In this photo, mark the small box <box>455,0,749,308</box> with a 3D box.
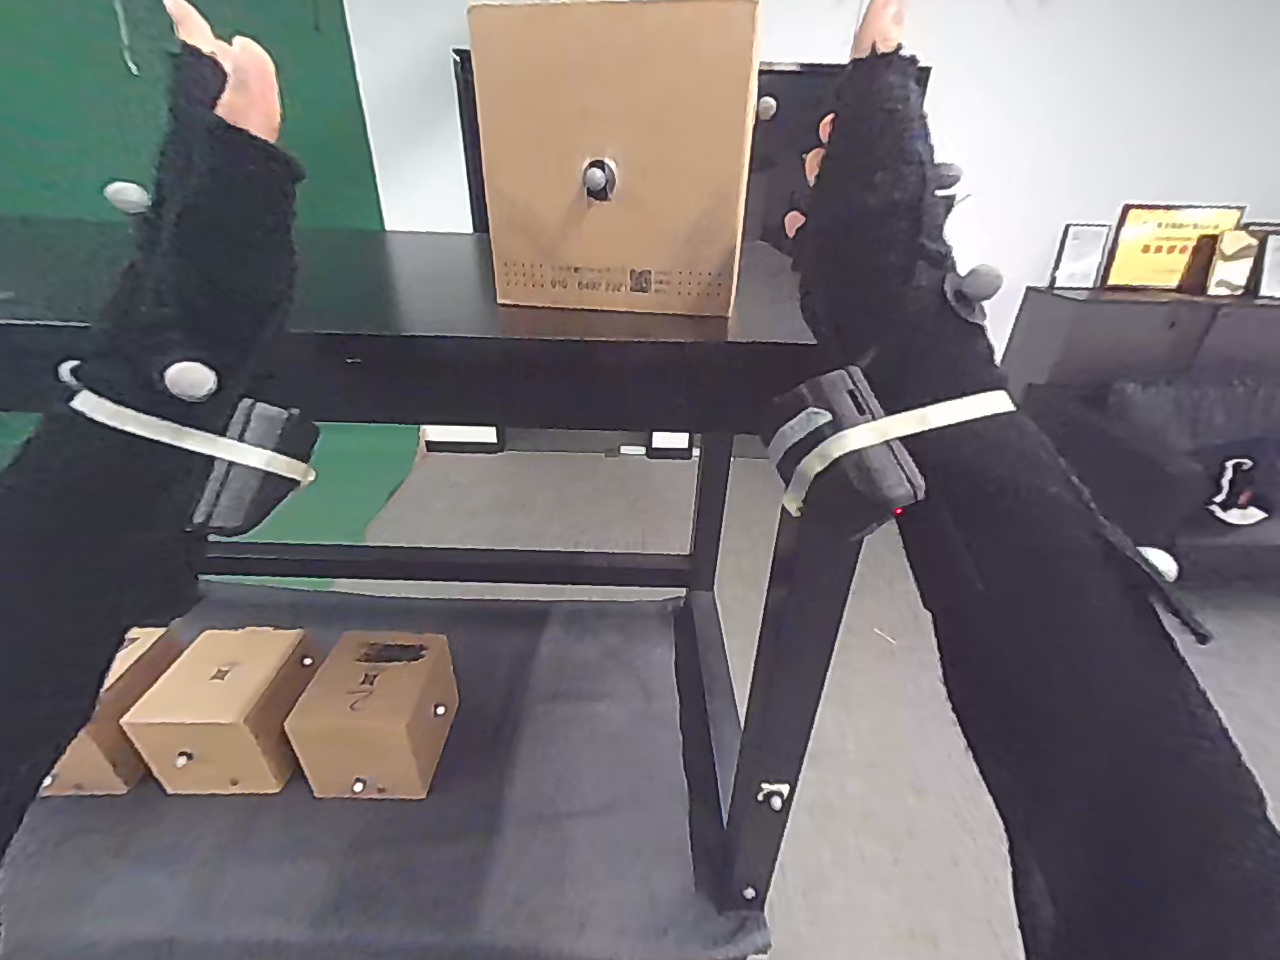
[{"bbox_3d":[-0.011,-0.231,0.405,0.168,0.176,0.179,7,29,9],"label":"small box"}]

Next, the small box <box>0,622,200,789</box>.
[{"bbox_3d":[-0.833,0.344,0.837,0.168,0.176,0.179,0,29,-2],"label":"small box"}]
